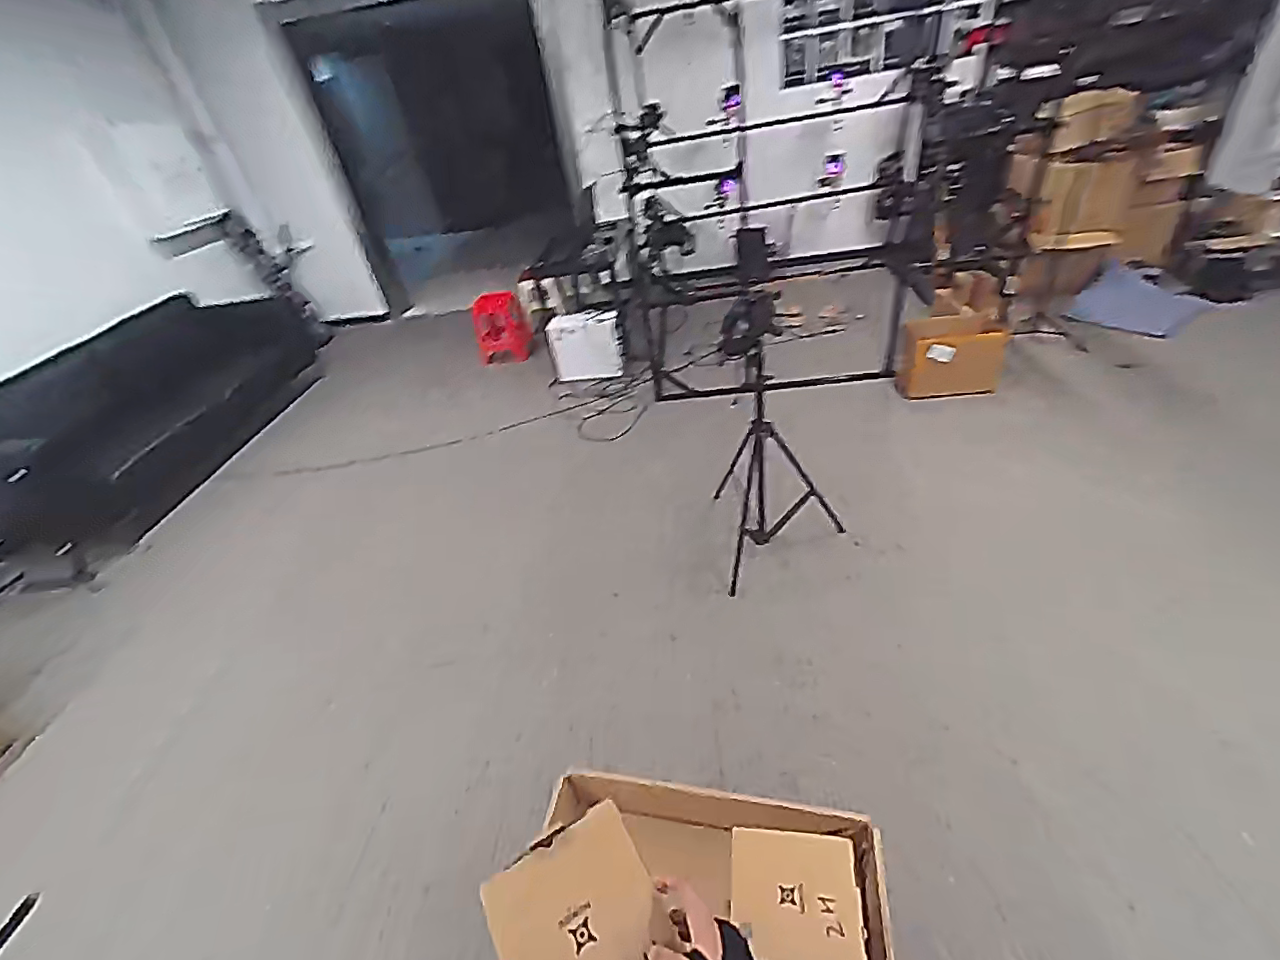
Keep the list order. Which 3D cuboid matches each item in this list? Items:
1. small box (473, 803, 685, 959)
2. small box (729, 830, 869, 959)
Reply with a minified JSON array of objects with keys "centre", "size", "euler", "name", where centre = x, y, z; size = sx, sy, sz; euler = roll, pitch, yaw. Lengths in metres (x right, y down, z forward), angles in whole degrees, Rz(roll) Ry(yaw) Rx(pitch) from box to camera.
[{"centre":[-0.058,0.507,0.595],"size":[0.168,0.176,0.179],"euler":[-27,48,-17],"name":"small box"},{"centre":[0.226,0.641,0.783],"size":[0.179,0.176,0.168],"euler":[-2,37,14],"name":"small box"}]
